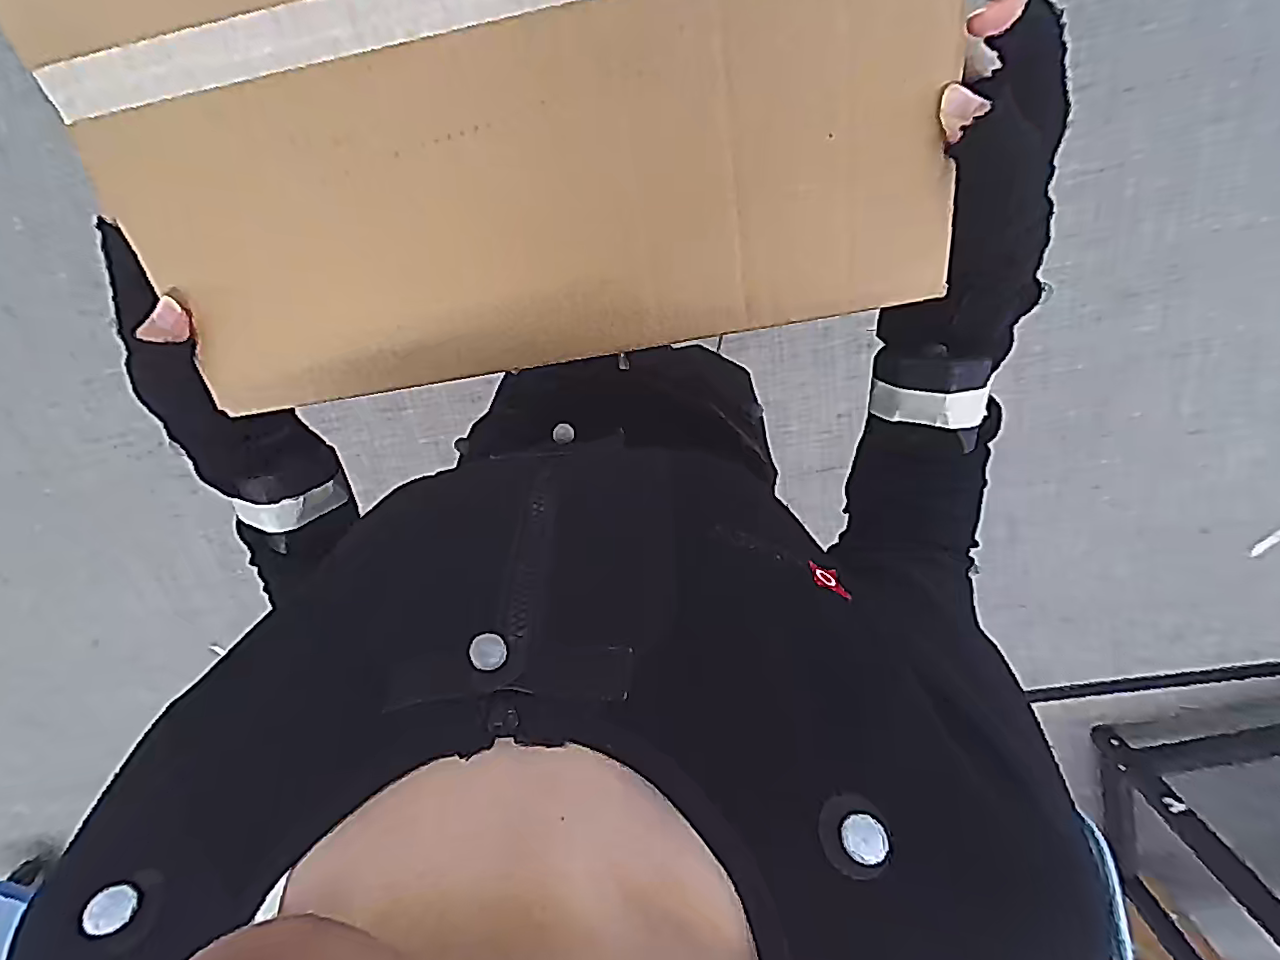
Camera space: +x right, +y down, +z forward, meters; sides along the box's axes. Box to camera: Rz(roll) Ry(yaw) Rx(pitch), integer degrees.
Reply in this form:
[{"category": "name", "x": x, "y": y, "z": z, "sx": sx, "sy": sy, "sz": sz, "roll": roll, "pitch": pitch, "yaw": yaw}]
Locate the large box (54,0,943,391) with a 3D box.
[{"category": "large box", "x": -0.065, "y": -0.282, "z": 0.375, "sx": 0.408, "sy": 0.320, "sz": 0.320, "roll": -8, "pitch": 116, "yaw": 6}]
